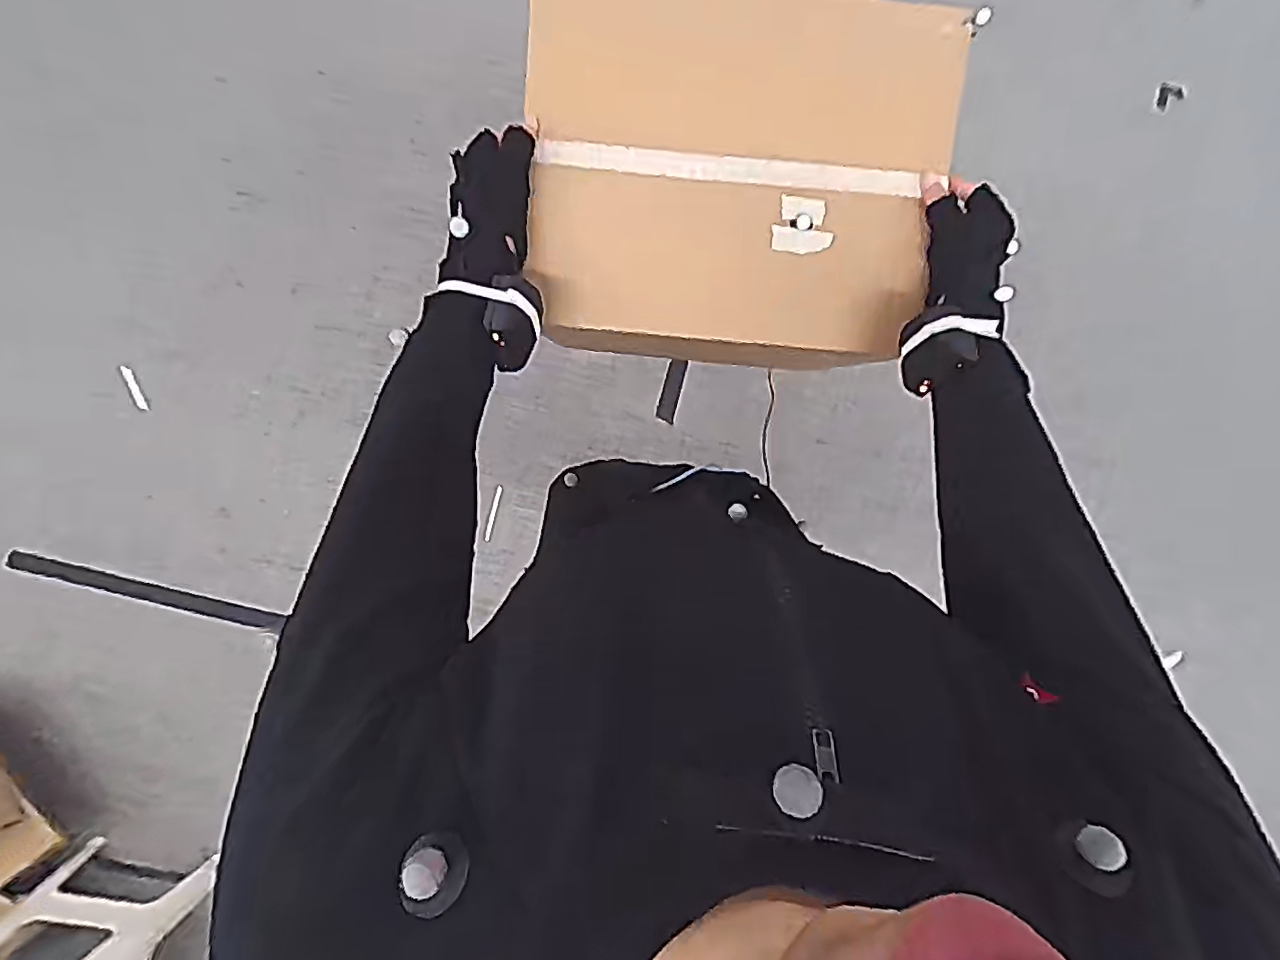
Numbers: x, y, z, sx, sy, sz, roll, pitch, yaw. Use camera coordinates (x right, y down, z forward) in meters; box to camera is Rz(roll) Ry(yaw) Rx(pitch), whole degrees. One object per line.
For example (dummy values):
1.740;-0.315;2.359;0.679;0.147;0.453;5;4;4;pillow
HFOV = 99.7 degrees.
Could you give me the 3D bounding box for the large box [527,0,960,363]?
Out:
0.089;-0.325;0.670;0.408;0.320;0.320;5;100;-3;large box
